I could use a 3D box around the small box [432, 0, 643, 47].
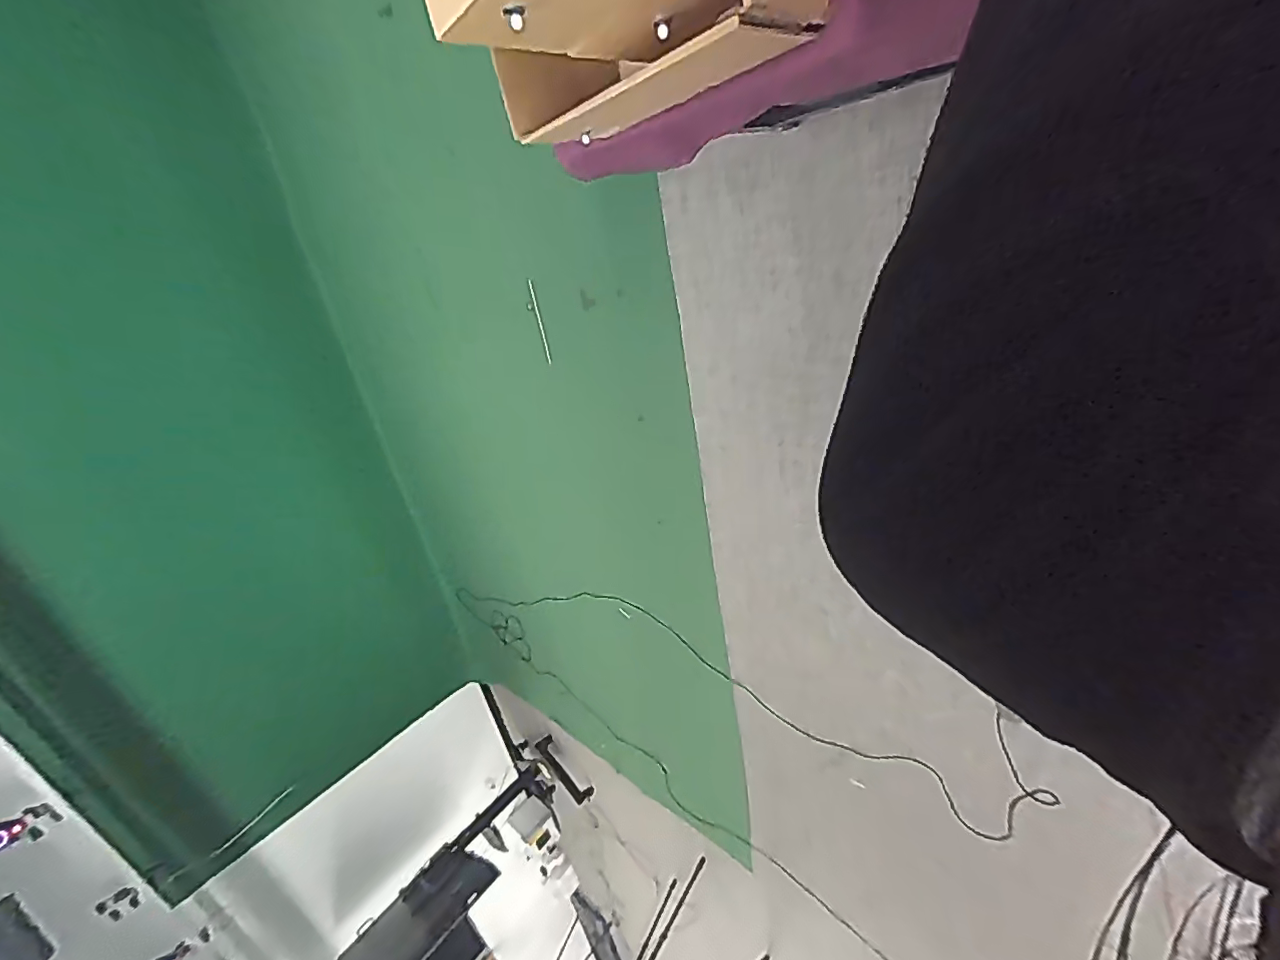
[{"bbox_3d":[-0.096,-0.531,0.497,0.179,0.176,0.168,10,122,43],"label":"small box"}]
